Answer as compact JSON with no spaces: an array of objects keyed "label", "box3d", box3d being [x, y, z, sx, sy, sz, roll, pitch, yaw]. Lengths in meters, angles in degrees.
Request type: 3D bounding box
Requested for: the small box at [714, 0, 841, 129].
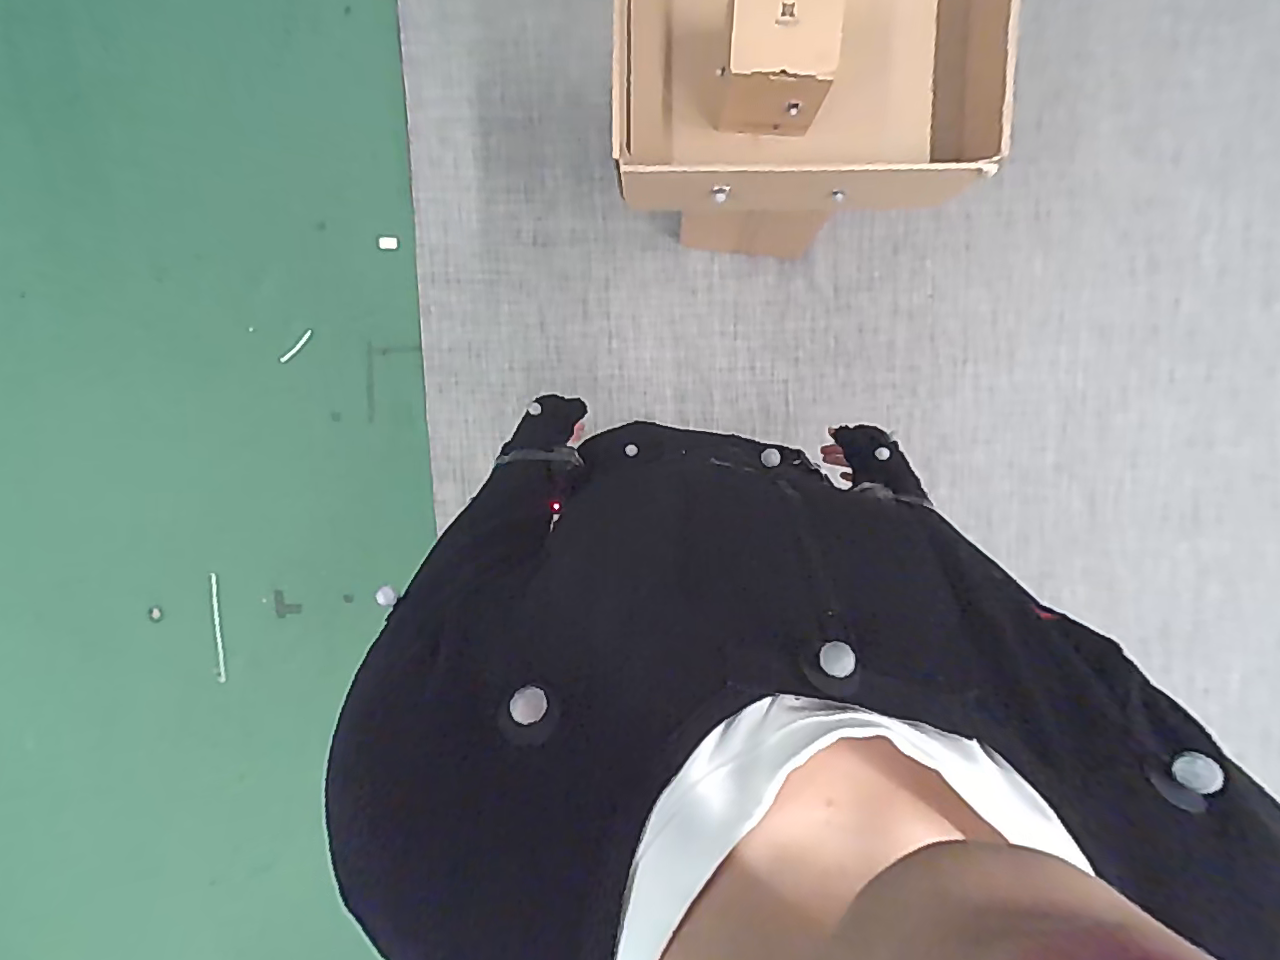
[{"label":"small box","box3d":[0.216,-0.707,0.881,0.168,0.176,0.179,3,94,-1]}]
